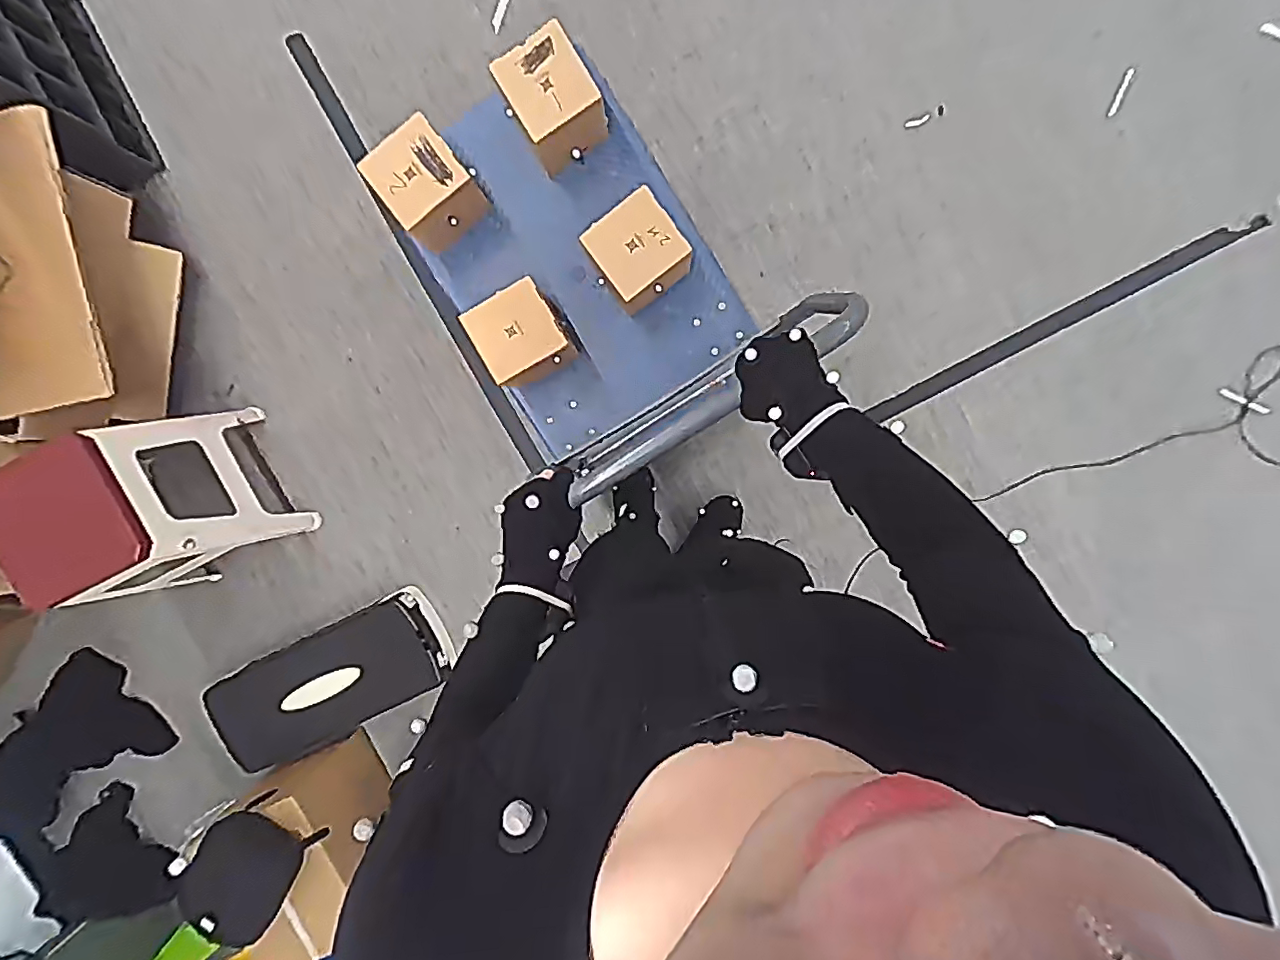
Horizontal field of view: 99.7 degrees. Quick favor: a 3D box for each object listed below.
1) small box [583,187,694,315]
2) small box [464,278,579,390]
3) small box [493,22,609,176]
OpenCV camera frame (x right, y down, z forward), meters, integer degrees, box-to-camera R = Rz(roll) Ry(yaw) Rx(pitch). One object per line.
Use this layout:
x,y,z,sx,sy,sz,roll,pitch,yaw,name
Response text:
0.000,-0.486,1.184,0.179,0.176,0.168,-37,94,5,small box
-0.255,-0.314,1.210,0.179,0.176,0.168,-30,94,3,small box
-0.181,-0.799,1.155,0.168,0.176,0.179,-32,95,5,small box
